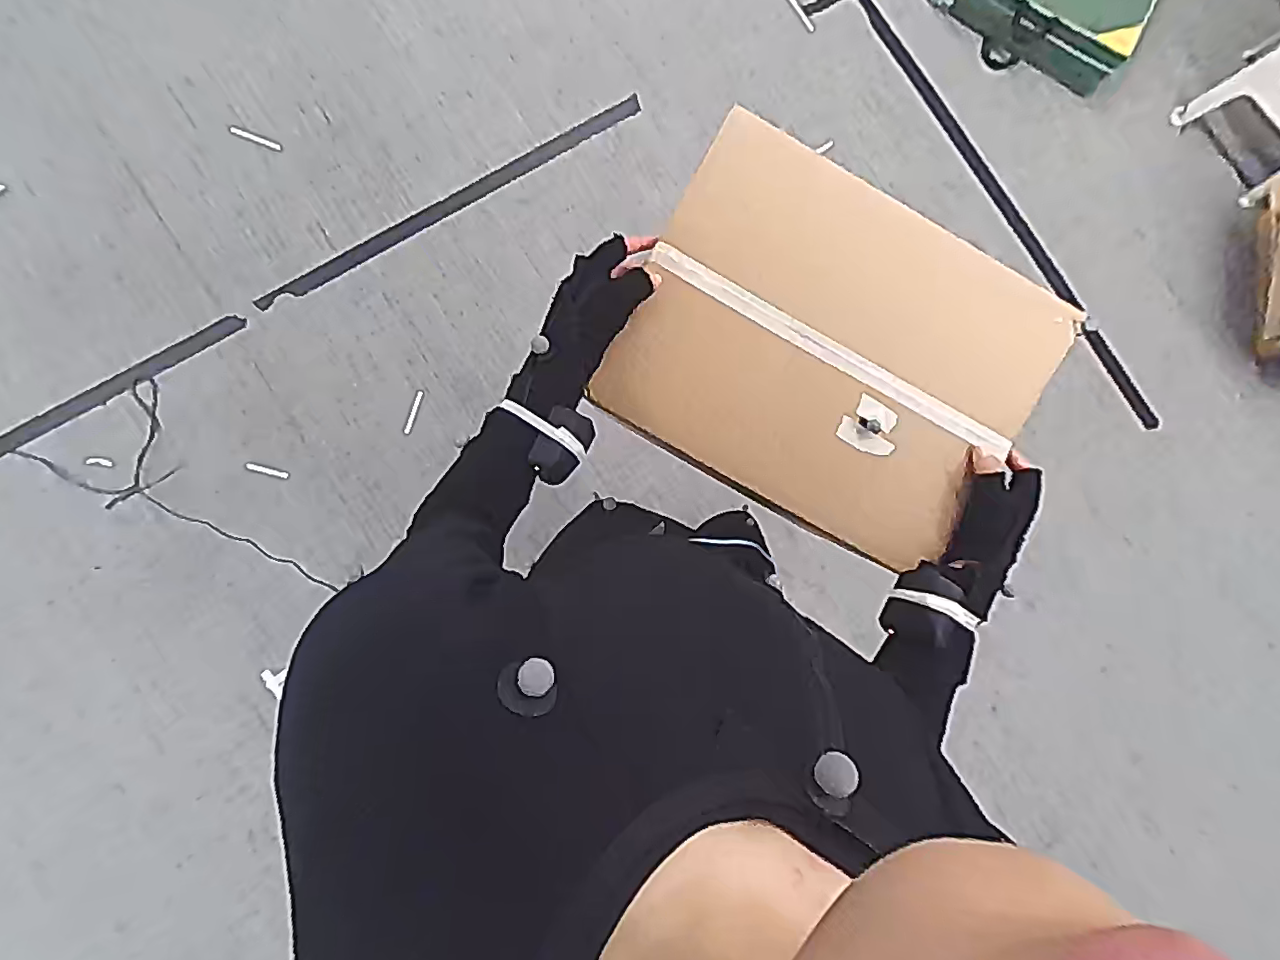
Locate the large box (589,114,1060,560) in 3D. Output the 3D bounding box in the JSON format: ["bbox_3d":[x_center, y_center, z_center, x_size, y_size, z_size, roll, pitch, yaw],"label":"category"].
[{"bbox_3d":[0.183,-0.150,0.700,0.408,0.320,0.320,29,94,-4],"label":"large box"}]
